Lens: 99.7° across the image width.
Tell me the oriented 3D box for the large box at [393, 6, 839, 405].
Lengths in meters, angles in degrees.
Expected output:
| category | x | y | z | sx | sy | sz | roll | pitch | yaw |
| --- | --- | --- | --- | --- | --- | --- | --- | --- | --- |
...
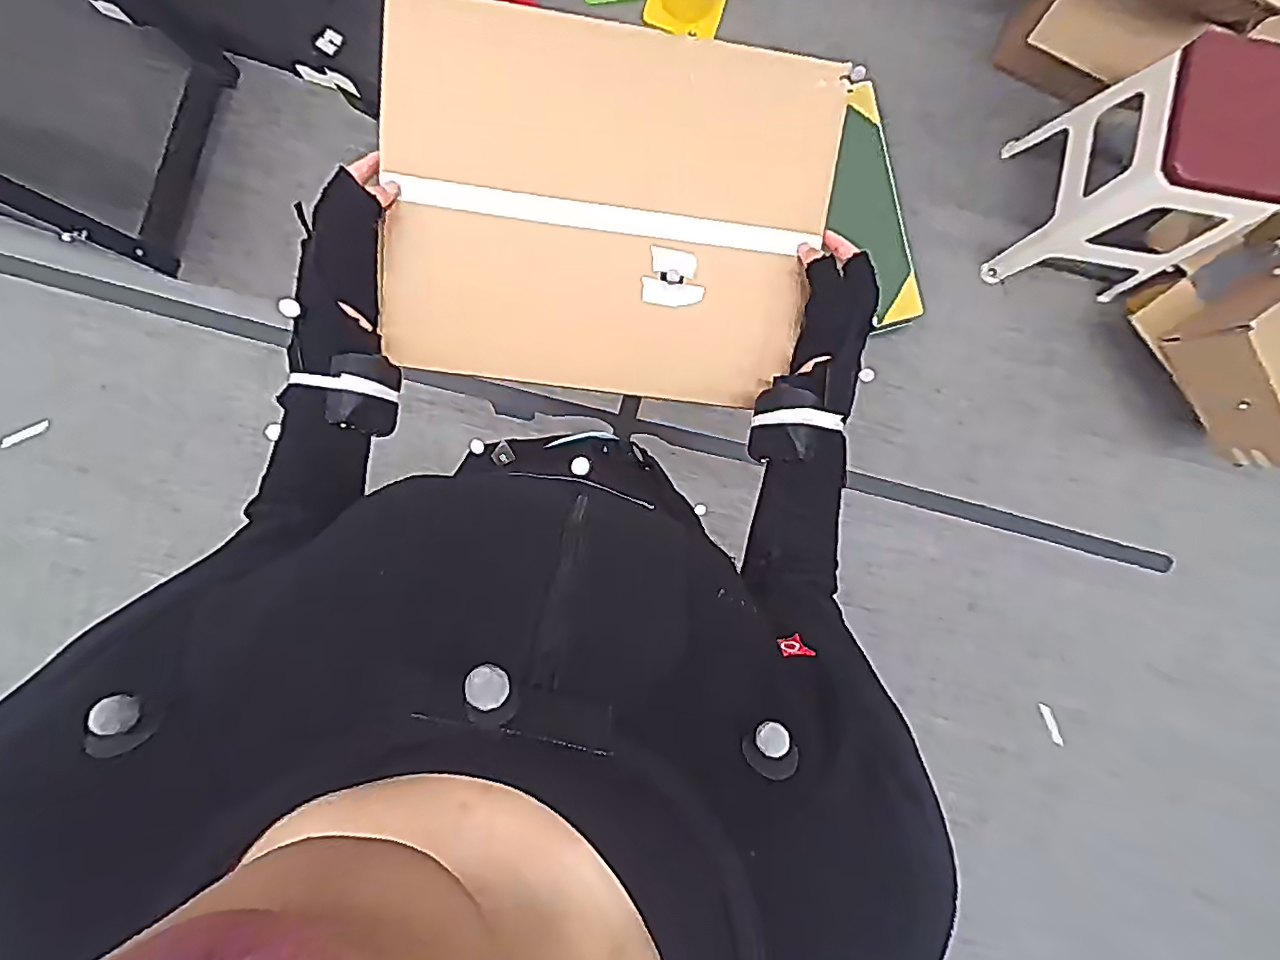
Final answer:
| category | x | y | z | sx | sy | sz | roll | pitch | yaw |
| --- | --- | --- | --- | --- | --- | --- | --- | --- | --- |
| large box | -0.039 | -0.274 | 0.658 | 0.408 | 0.320 | 0.320 | 6 | 102 | -5 |
